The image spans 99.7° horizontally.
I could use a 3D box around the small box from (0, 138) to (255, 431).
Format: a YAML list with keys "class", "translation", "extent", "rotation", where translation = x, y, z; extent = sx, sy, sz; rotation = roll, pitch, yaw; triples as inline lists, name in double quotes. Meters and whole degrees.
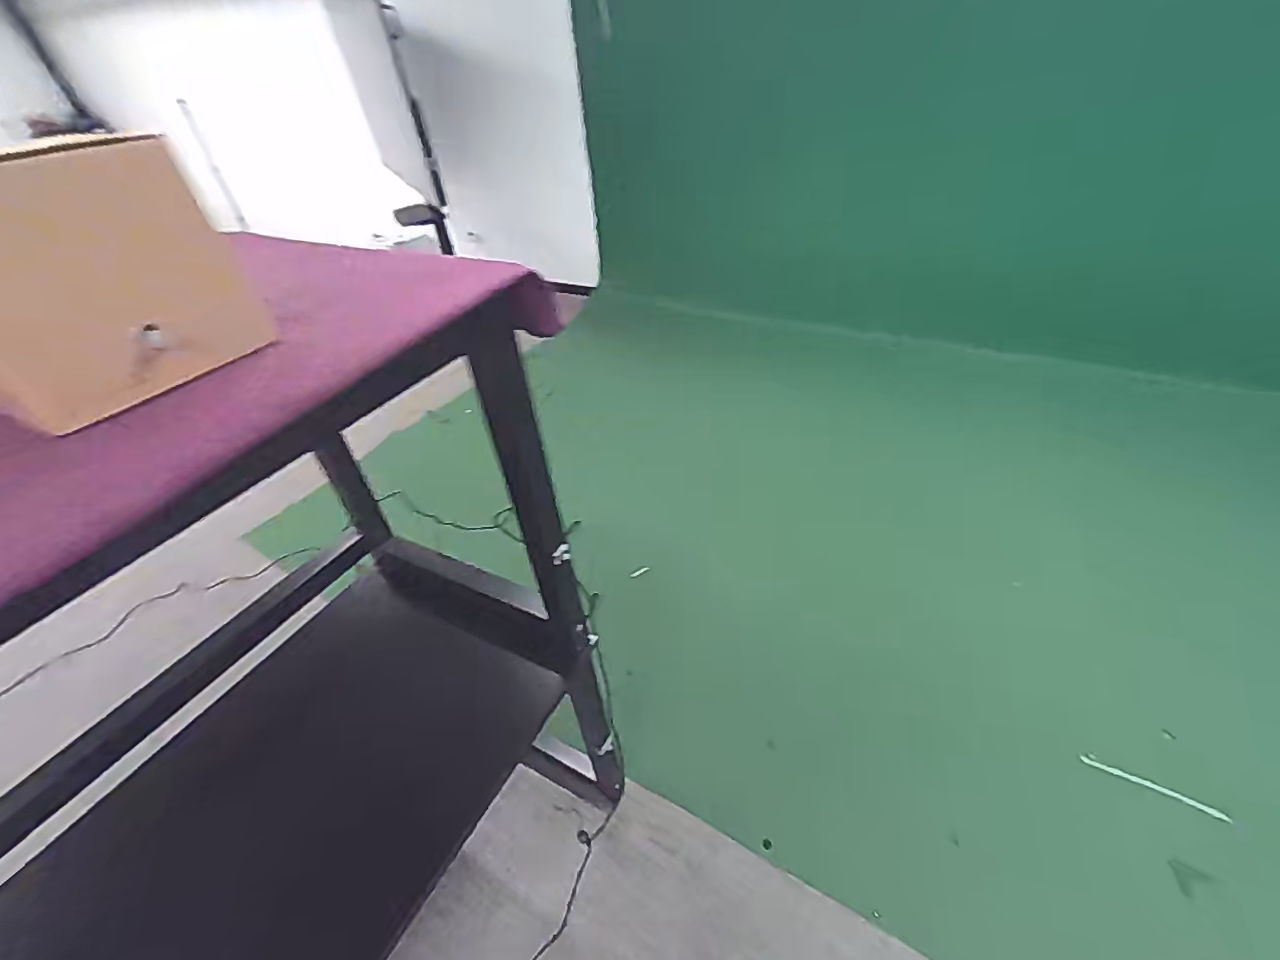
- class: "small box"
  translation: [-0.461, -0.164, 0.438]
  extent: [0.168, 0.176, 0.179]
  rotation: [15, 43, 26]
